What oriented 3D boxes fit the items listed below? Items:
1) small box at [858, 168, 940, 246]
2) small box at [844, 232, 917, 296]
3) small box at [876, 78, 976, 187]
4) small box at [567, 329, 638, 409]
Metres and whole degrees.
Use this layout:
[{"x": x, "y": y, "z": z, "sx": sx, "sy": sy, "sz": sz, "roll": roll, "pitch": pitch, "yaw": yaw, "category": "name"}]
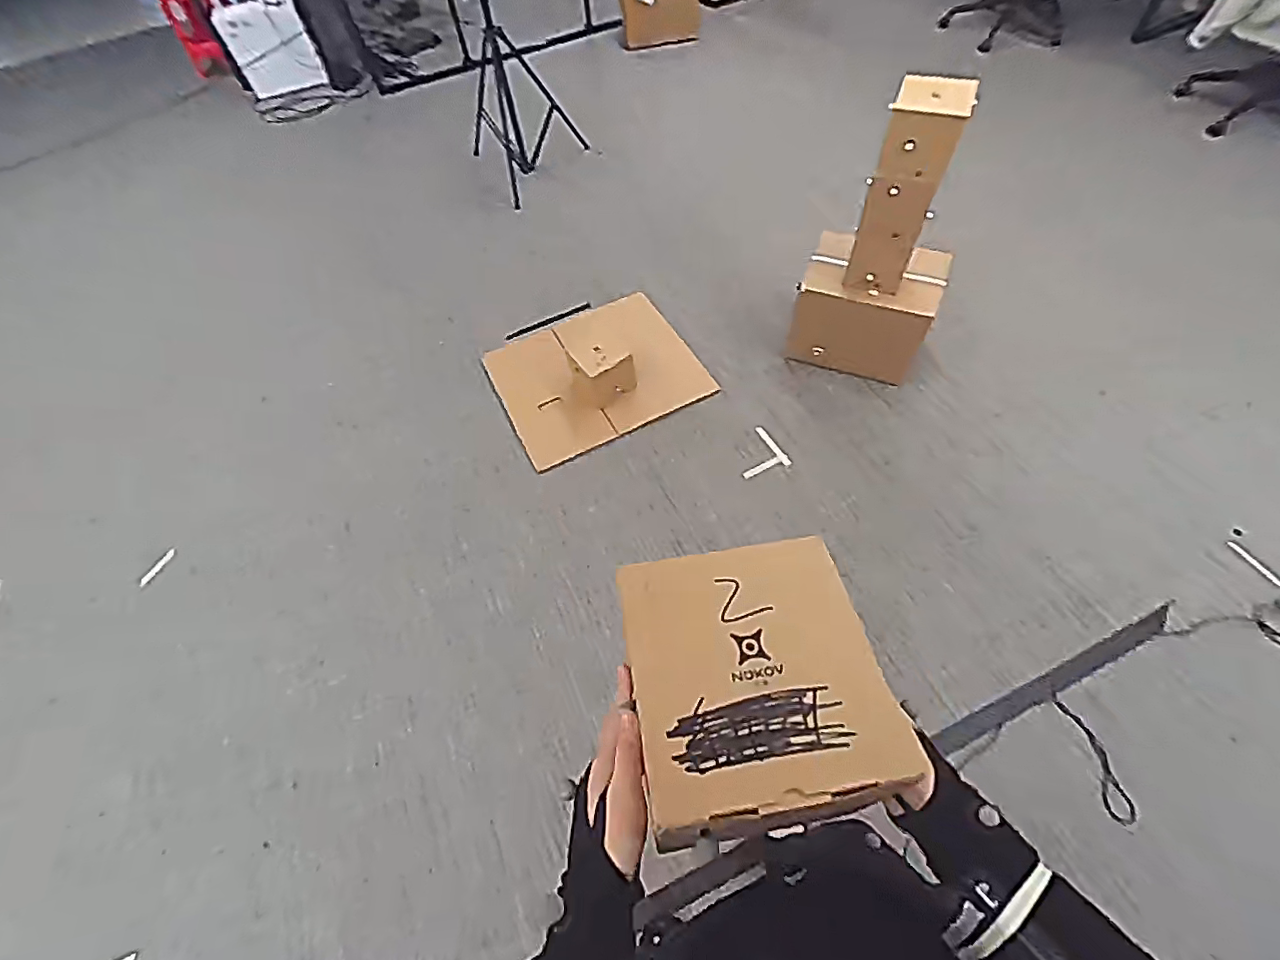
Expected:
[{"x": 0.714, "y": -0.776, "z": 1.482, "sx": 0.168, "sy": 0.176, "sz": 0.179, "roll": 18, "pitch": 61, "yaw": 16, "category": "small box"}, {"x": 0.726, "y": -0.687, "z": 1.620, "sx": 0.168, "sy": 0.176, "sz": 0.179, "roll": 18, "pitch": 62, "yaw": 16, "category": "small box"}, {"x": 0.703, "y": -0.859, "z": 1.342, "sx": 0.168, "sy": 0.176, "sz": 0.179, "roll": 18, "pitch": 61, "yaw": 16, "category": "small box"}, {"x": -0.126, "y": -0.378, "z": 1.863, "sx": 0.168, "sy": 0.176, "sz": 0.179, "roll": -34, "pitch": 61, "yaw": -12, "category": "small box"}]
